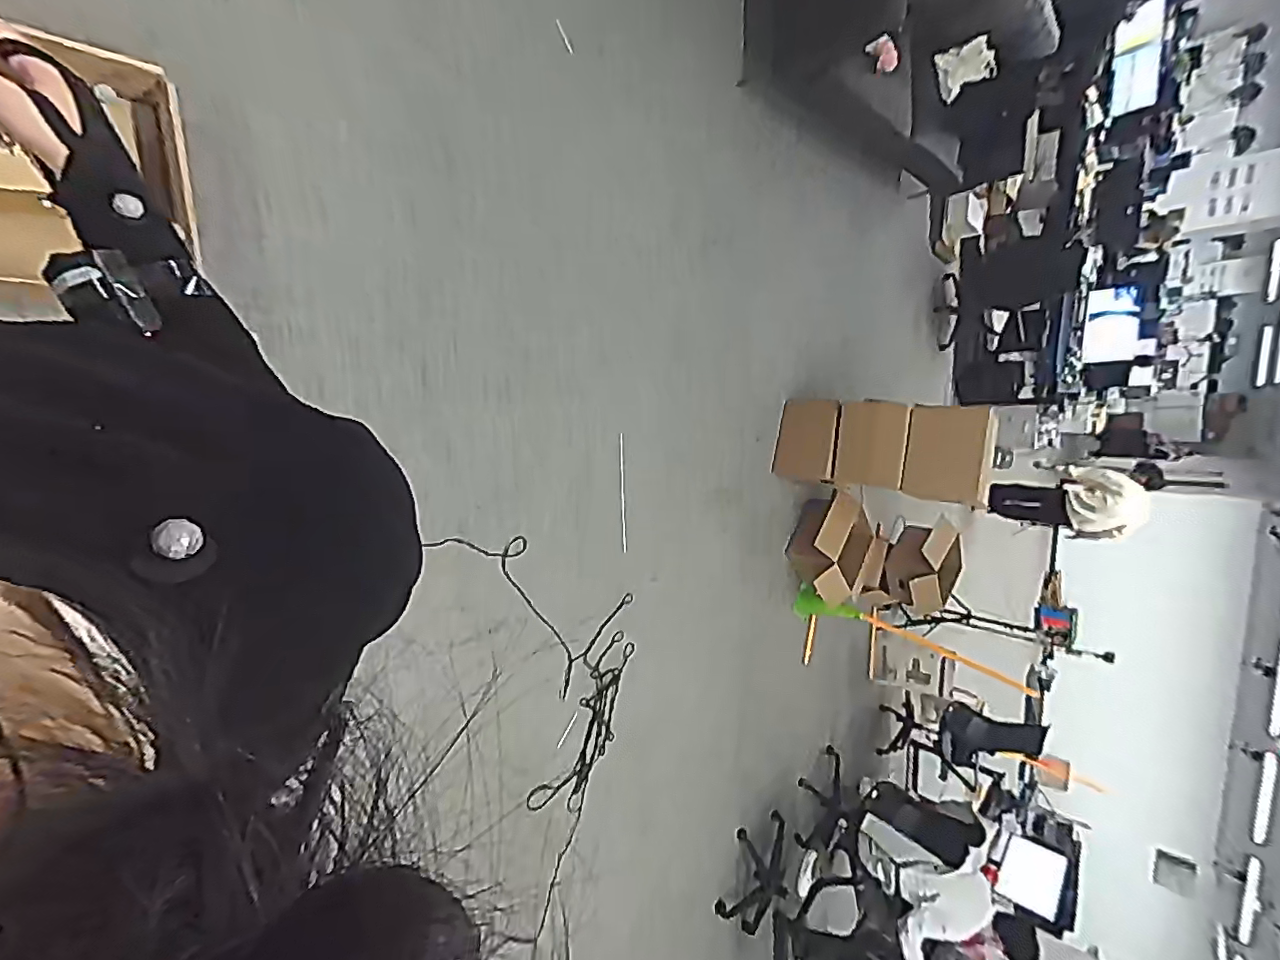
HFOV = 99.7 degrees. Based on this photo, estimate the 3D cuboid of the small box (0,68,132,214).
[{"bbox_3d":[-1.008,-0.568,0.924,0.179,0.176,0.168,-18,109,-42],"label":"small box"}]
